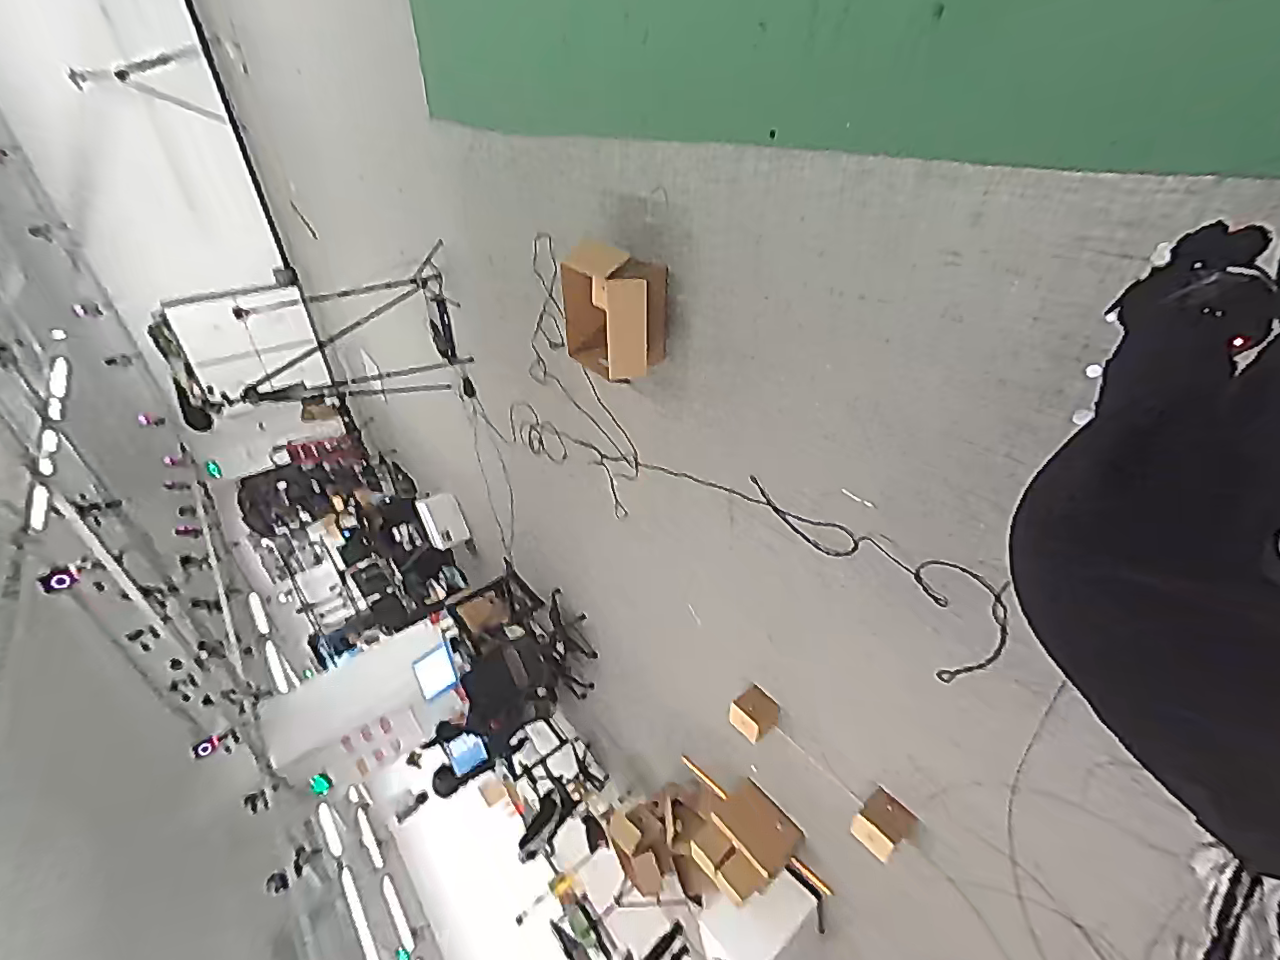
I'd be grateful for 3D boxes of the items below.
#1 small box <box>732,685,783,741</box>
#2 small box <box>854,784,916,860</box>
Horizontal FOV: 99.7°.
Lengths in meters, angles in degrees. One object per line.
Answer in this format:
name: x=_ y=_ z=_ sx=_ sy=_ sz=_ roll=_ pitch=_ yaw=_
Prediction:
small box: x=0.593 y=1.167 z=2.729 sx=0.179 sy=0.176 sz=0.168 roll=32 pitch=136 yaw=40
small box: x=1.034 y=1.437 z=2.279 sx=0.168 sy=0.176 sz=0.179 roll=32 pitch=137 yaw=40
